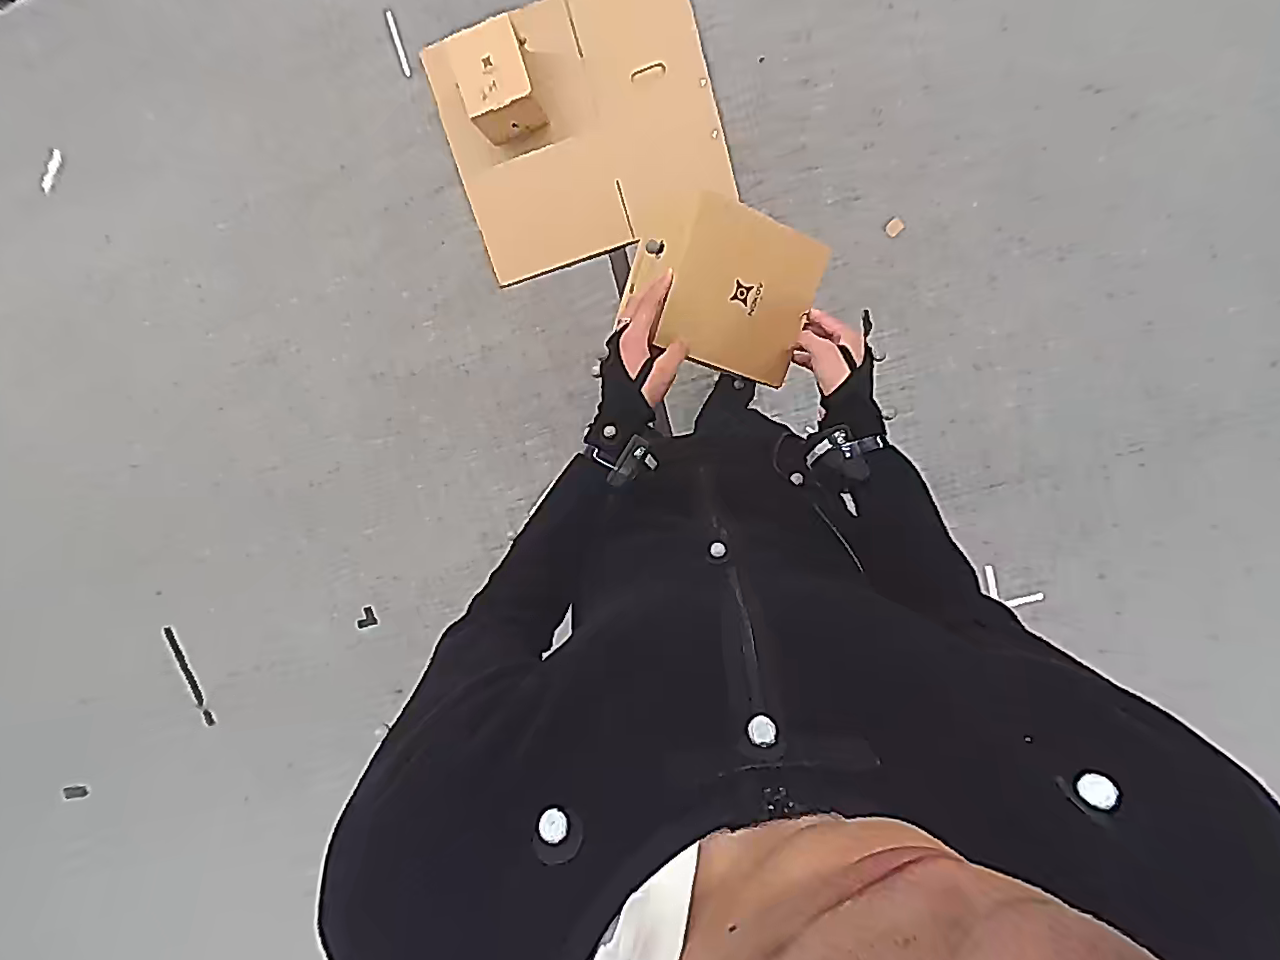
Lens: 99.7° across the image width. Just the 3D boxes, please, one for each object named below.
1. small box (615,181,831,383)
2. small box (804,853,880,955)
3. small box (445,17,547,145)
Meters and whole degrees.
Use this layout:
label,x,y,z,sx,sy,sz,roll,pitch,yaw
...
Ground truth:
label,x,y,z,sx,sy,sz,roll,pitch,yaw
small box,0.086,-0.230,0.656,0.179,0.176,0.168,13,104,-23
small box,0.615,1.297,1.660,0.168,0.176,0.179,-13,101,6
small box,-0.346,-0.970,1.331,0.168,0.176,0.179,-16,102,8
